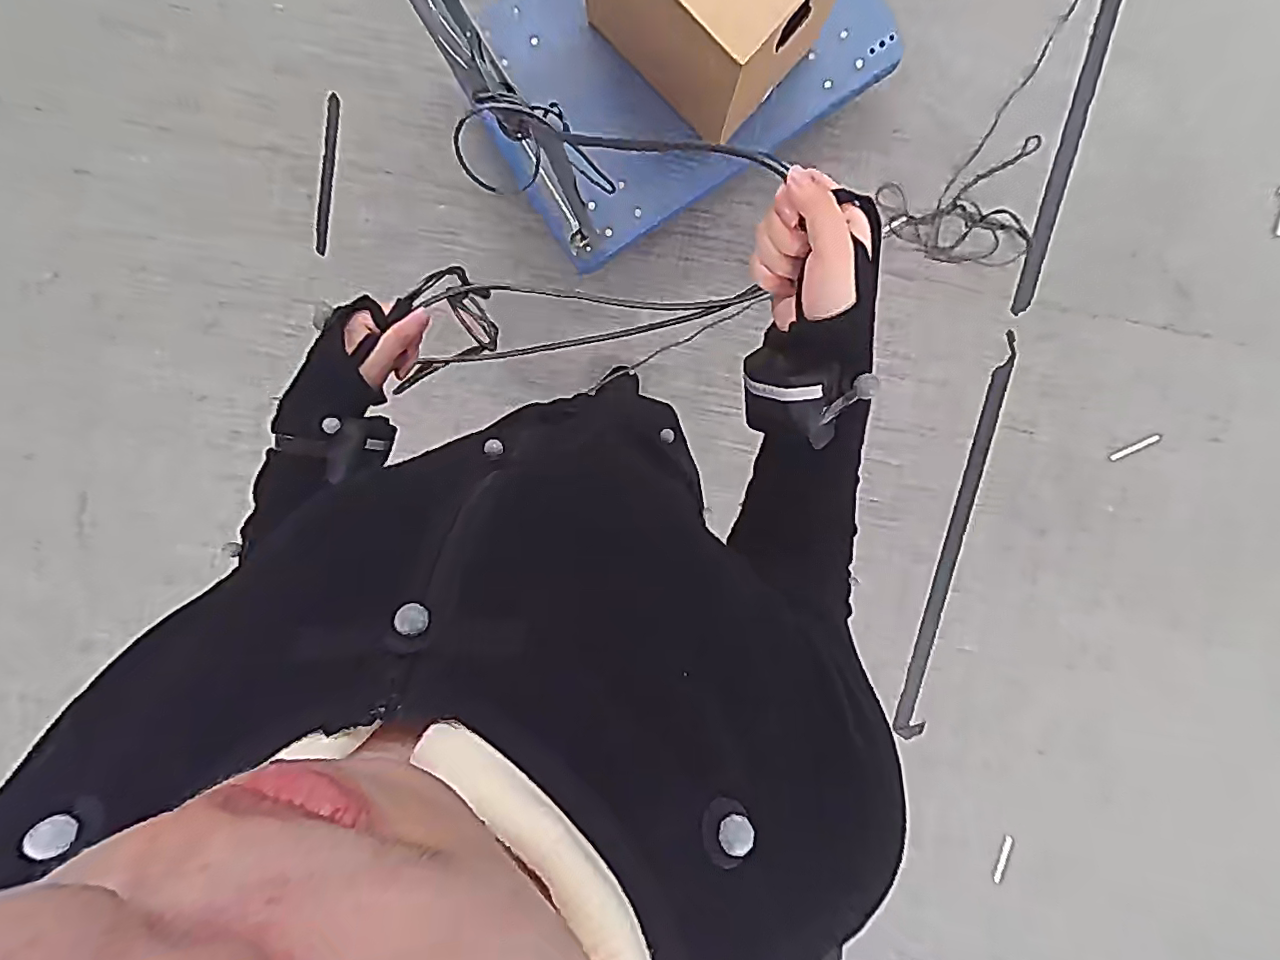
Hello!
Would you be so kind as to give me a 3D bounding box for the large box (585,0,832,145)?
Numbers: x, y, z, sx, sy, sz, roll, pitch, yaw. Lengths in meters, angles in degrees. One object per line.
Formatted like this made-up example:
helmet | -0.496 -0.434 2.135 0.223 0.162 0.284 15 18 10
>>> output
large box | 0.131 -0.961 1.026 0.408 0.320 0.320 43 96 -6
